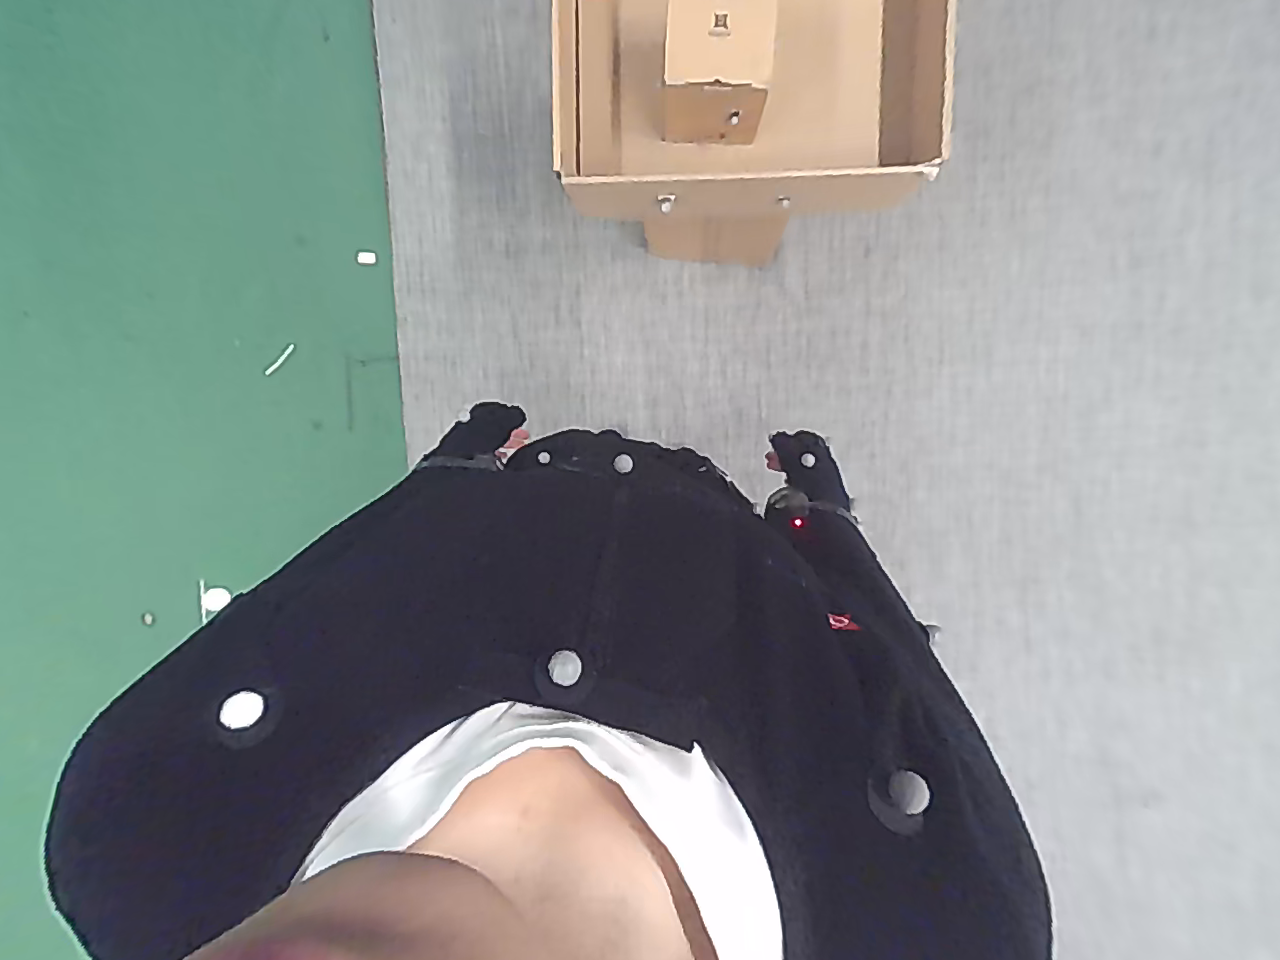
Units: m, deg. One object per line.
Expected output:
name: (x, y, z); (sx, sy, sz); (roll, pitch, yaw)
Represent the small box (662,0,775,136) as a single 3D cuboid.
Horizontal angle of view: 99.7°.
small box: (0.122, -0.698, 0.888); (0.168, 0.176, 0.179); (3, 94, 1)
